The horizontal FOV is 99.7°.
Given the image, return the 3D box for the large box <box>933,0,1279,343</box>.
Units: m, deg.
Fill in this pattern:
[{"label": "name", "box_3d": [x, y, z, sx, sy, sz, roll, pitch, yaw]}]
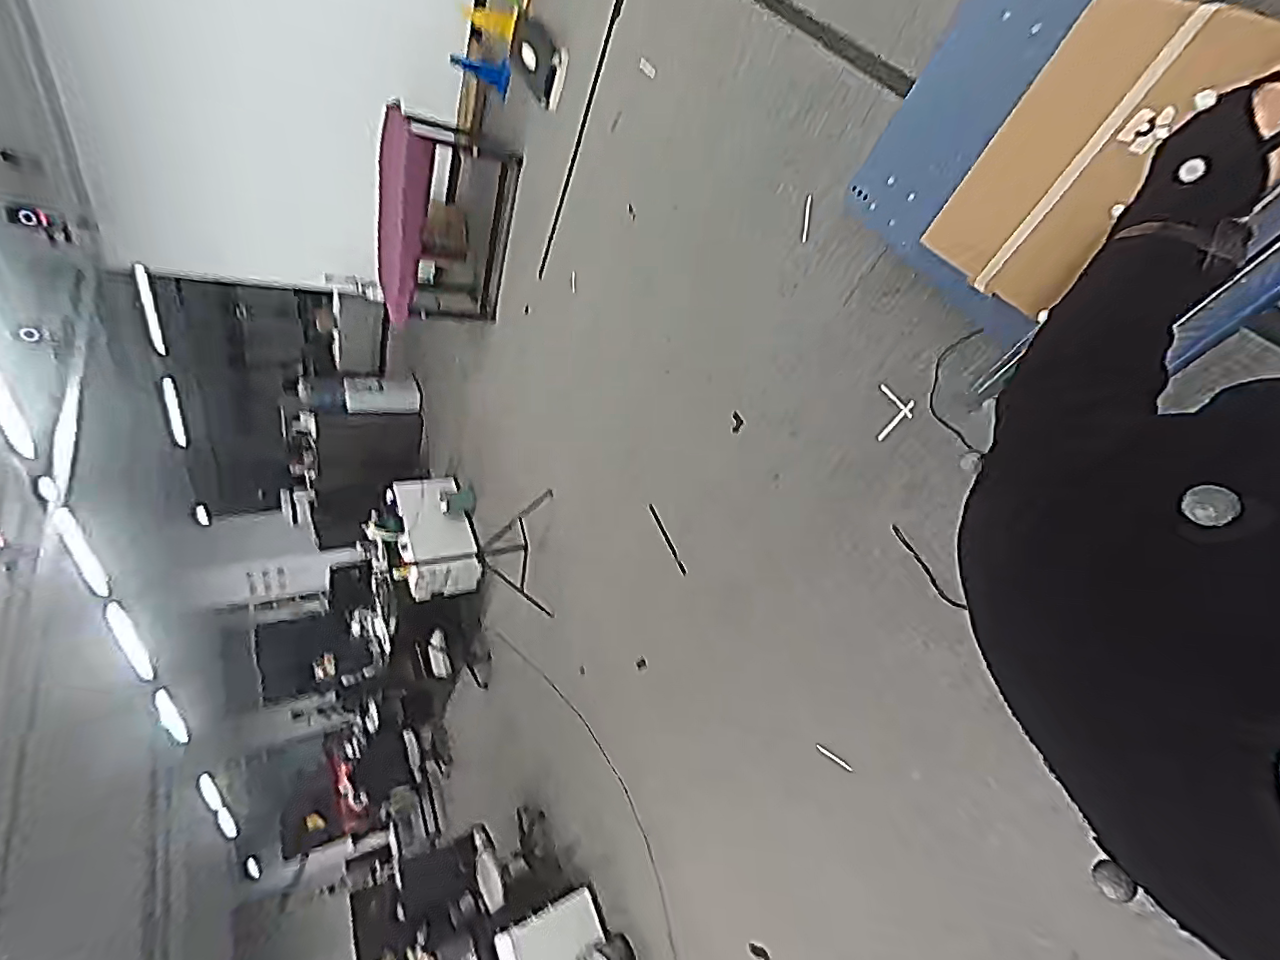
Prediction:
[{"label": "large box", "box_3d": [0.816, -0.495, 0.915, 0.320, 0.320, 0.408, 58, 137, 32]}]
